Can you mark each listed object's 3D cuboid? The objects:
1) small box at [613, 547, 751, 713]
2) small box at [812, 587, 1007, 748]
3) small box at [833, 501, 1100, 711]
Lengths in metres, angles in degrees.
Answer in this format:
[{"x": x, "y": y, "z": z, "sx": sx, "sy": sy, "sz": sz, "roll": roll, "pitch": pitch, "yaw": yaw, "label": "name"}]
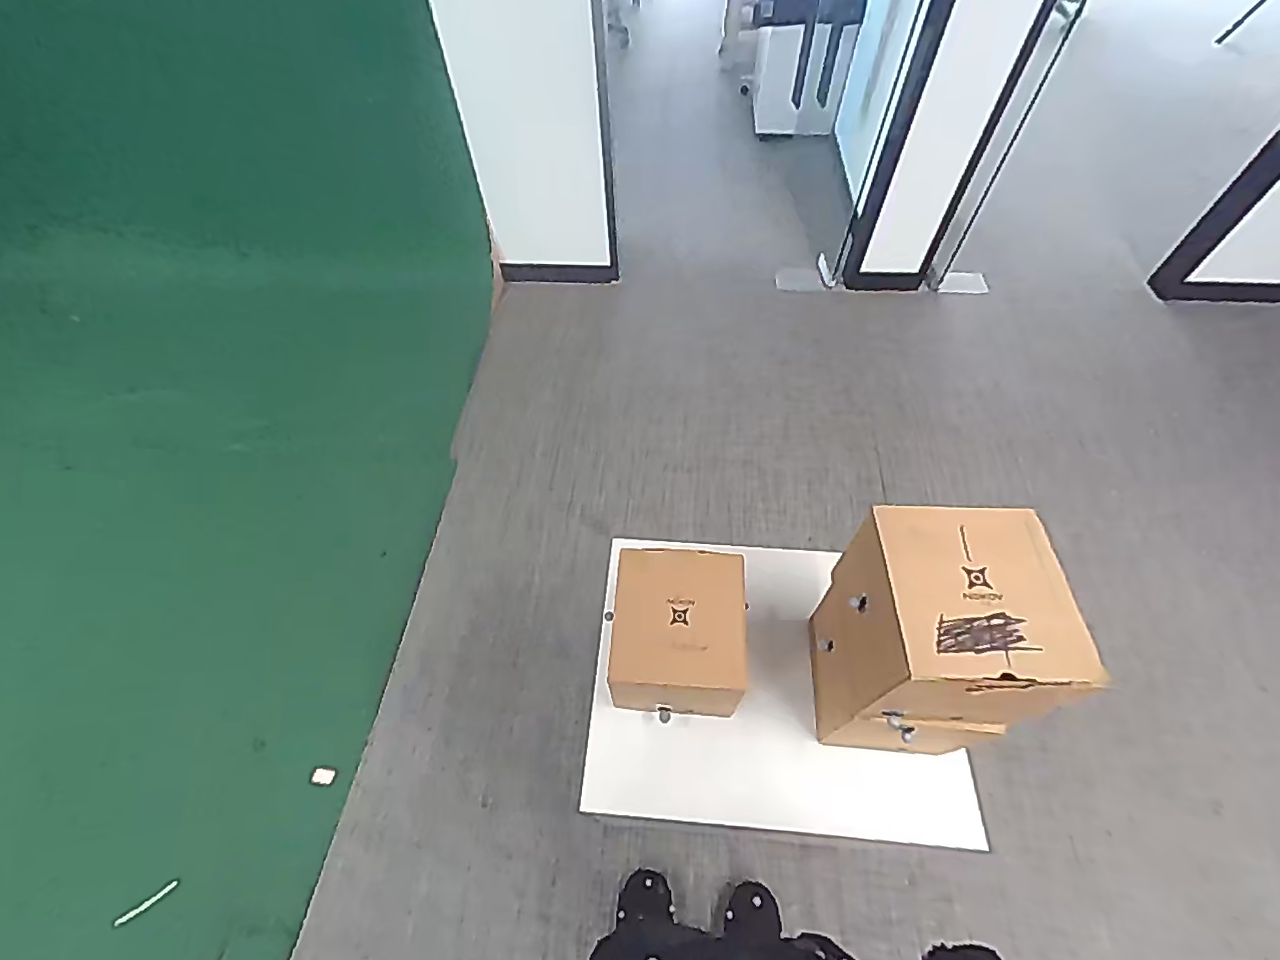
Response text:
[{"x": 0.056, "y": 0.208, "z": 0.741, "sx": 0.168, "sy": 0.176, "sz": 0.179, "roll": 1, "pitch": 58, "yaw": 4, "label": "small box"}, {"x": 0.330, "y": 0.236, "z": 0.707, "sx": 0.168, "sy": 0.176, "sz": 0.179, "roll": 2, "pitch": 56, "yaw": 5, "label": "small box"}, {"x": 0.317, "y": 0.139, "z": 0.574, "sx": 0.168, "sy": 0.176, "sz": 0.179, "roll": 0, "pitch": 56, "yaw": 3, "label": "small box"}]
